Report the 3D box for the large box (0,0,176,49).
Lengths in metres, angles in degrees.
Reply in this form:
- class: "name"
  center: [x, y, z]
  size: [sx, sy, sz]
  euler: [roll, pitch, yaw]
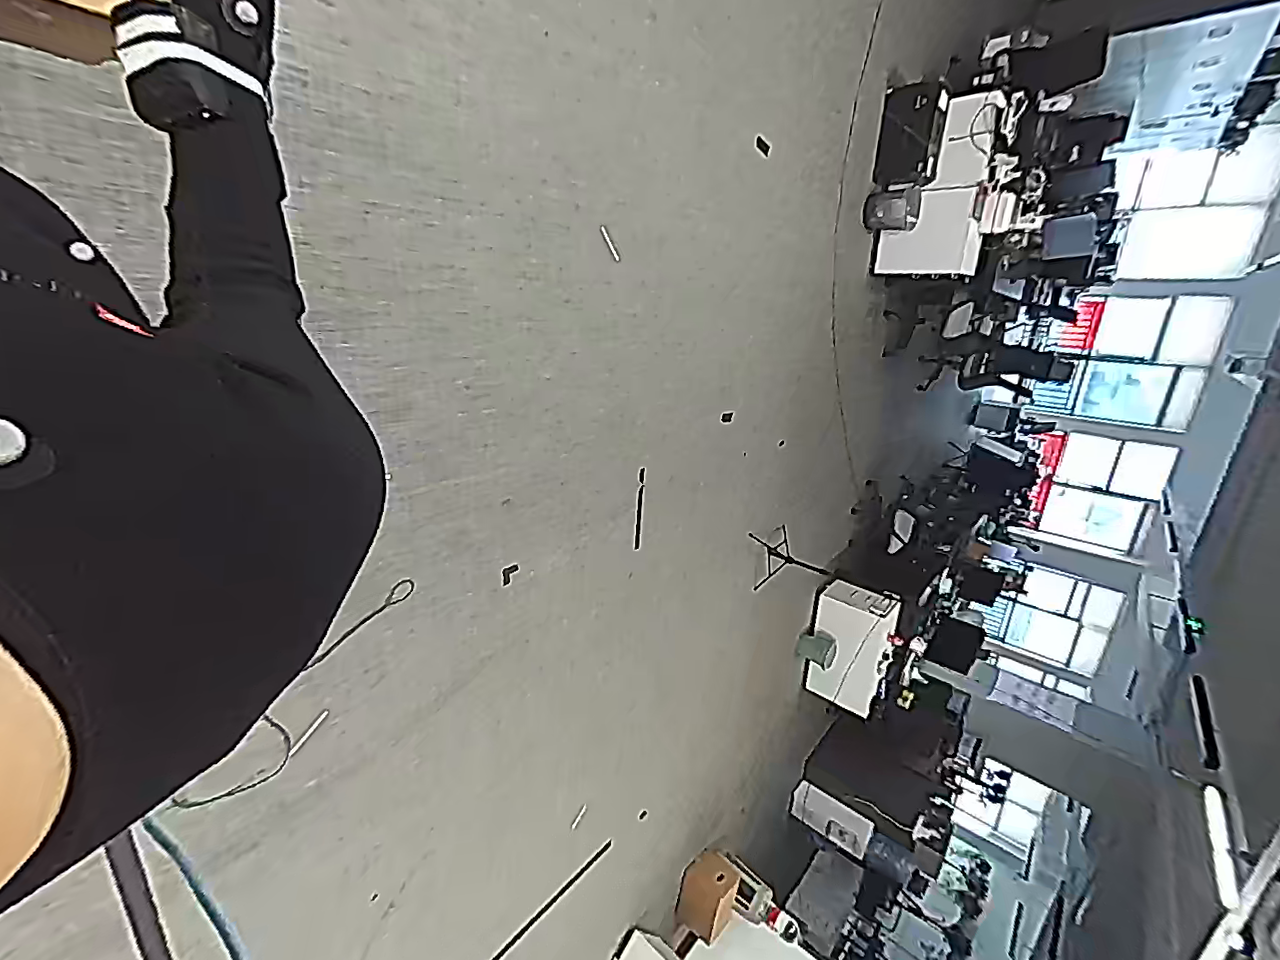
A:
- class: "large box"
  center: [-0.553, -0.481, 0.269]
  size: [0.408, 0.320, 0.320]
  euler: [-18, 126, -48]
